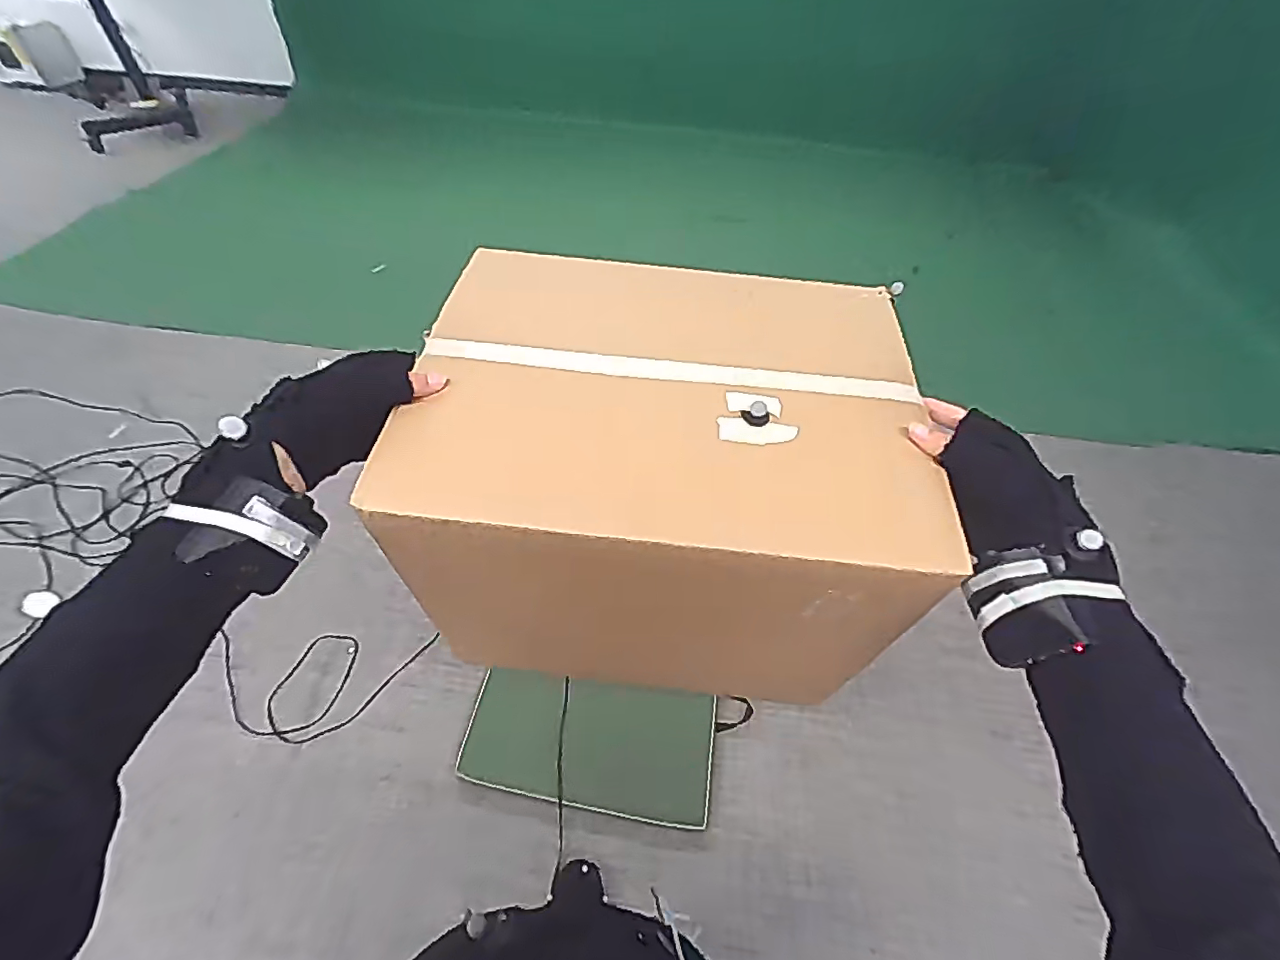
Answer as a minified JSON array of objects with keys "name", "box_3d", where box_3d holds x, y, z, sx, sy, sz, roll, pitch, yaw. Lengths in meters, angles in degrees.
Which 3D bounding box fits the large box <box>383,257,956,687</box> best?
[{"name":"large box","box_3d":[0.021,0.004,0.573,0.408,0.320,0.320,7,54,0]}]
